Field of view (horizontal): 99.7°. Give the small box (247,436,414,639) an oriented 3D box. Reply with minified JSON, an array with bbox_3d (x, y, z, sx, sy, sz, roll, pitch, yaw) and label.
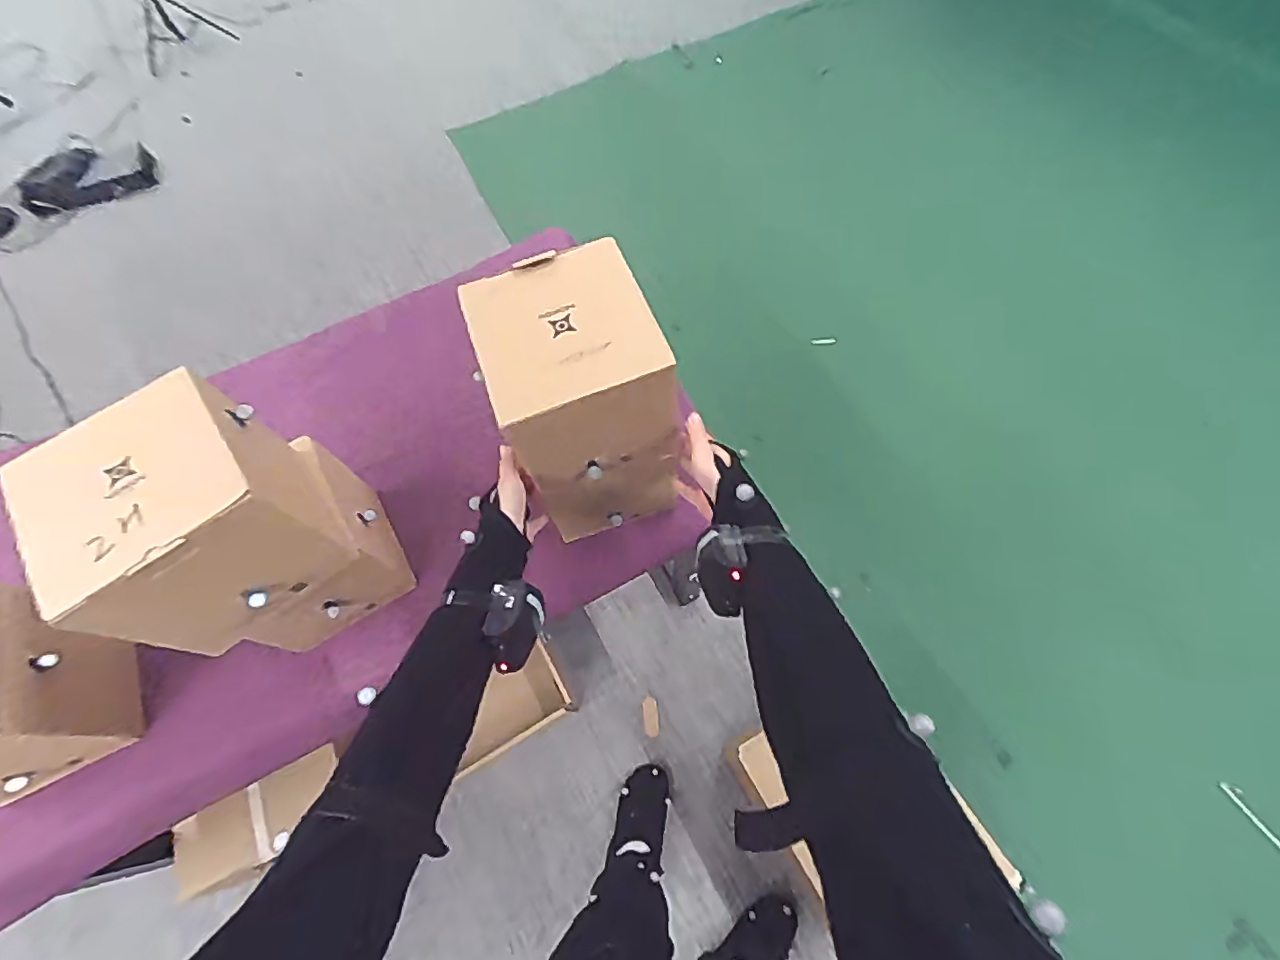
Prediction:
[{"bbox_3d":[-0.417,0.083,0.683,0.168,0.176,0.179,-30,66,-12],"label":"small box"}]

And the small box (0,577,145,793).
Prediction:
[{"bbox_3d":[-0.728,0.242,0.622,0.168,0.176,0.179,-26,66,-10],"label":"small box"}]

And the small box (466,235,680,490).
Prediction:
[{"bbox_3d":[-0.065,-0.117,0.578,0.168,0.176,0.179,-20,65,-5],"label":"small box"}]

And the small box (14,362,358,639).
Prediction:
[{"bbox_3d":[-0.419,0.029,0.525,0.168,0.176,0.179,-37,68,-13],"label":"small box"}]

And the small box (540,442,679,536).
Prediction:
[{"bbox_3d":[-0.053,-0.048,0.725,0.168,0.176,0.179,-17,65,-4],"label":"small box"}]
